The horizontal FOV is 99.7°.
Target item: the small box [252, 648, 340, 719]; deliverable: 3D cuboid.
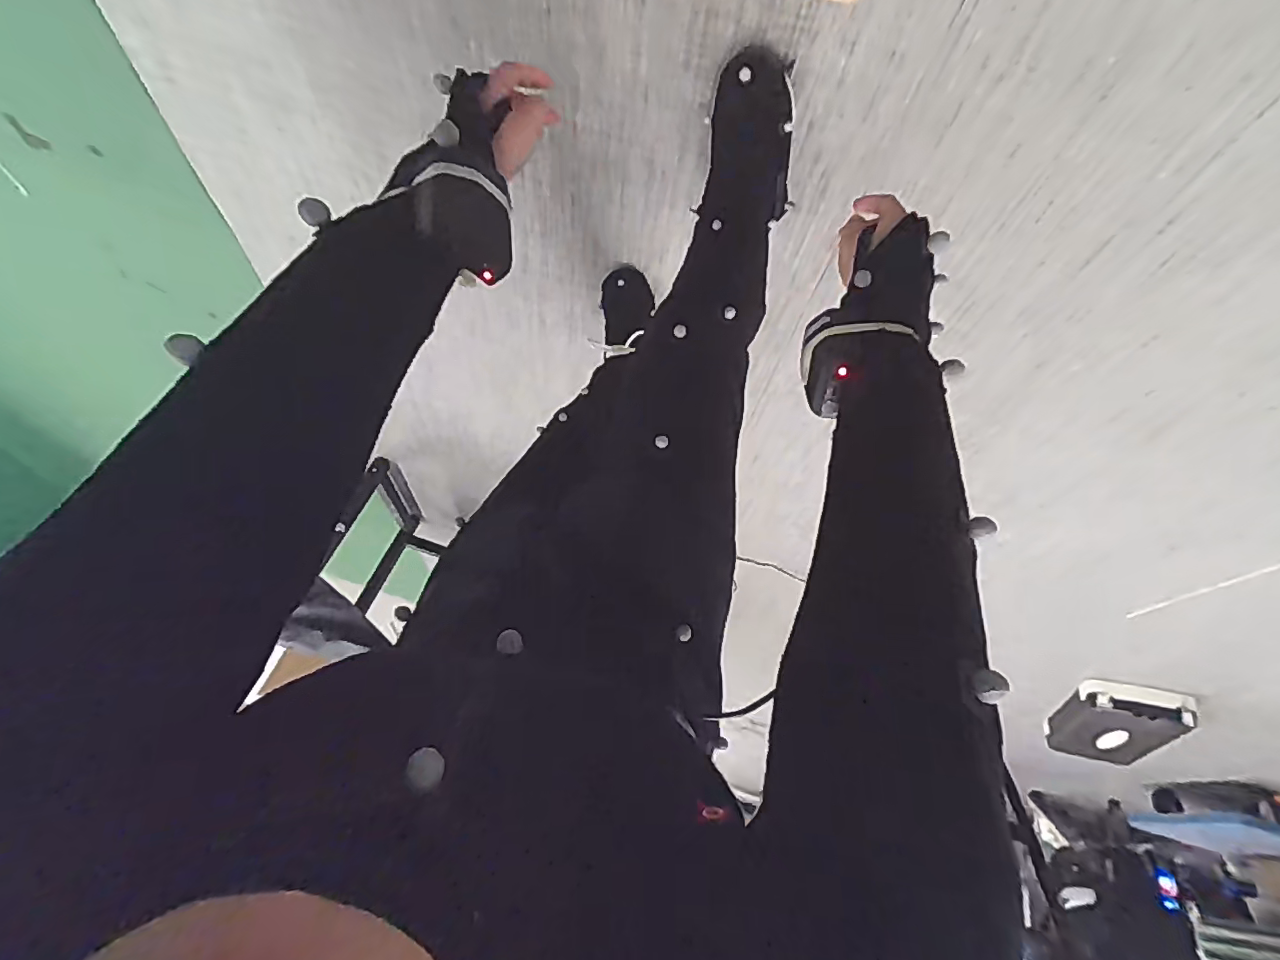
[{"bbox_3d":[-1.144,0.687,1.824,0.179,0.176,0.168,22,148,-2],"label":"small box"}]
